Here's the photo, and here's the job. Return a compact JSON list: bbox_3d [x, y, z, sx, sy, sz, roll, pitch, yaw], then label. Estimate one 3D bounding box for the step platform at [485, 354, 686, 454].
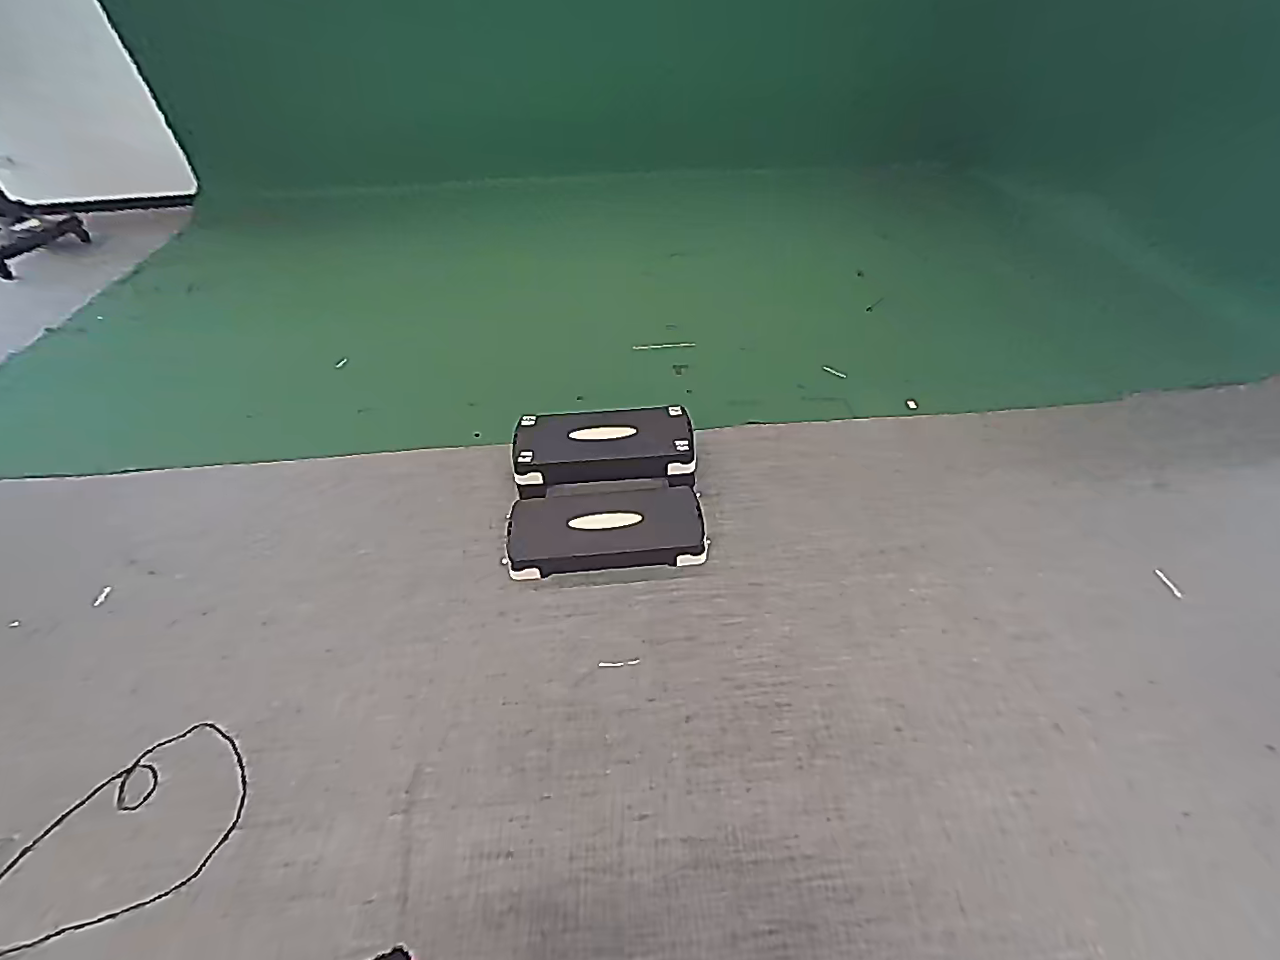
[{"bbox_3d":[-0.182,-0.272,1.920,0.684,0.204,0.286,-5,47,-2],"label":"step platform"}]
